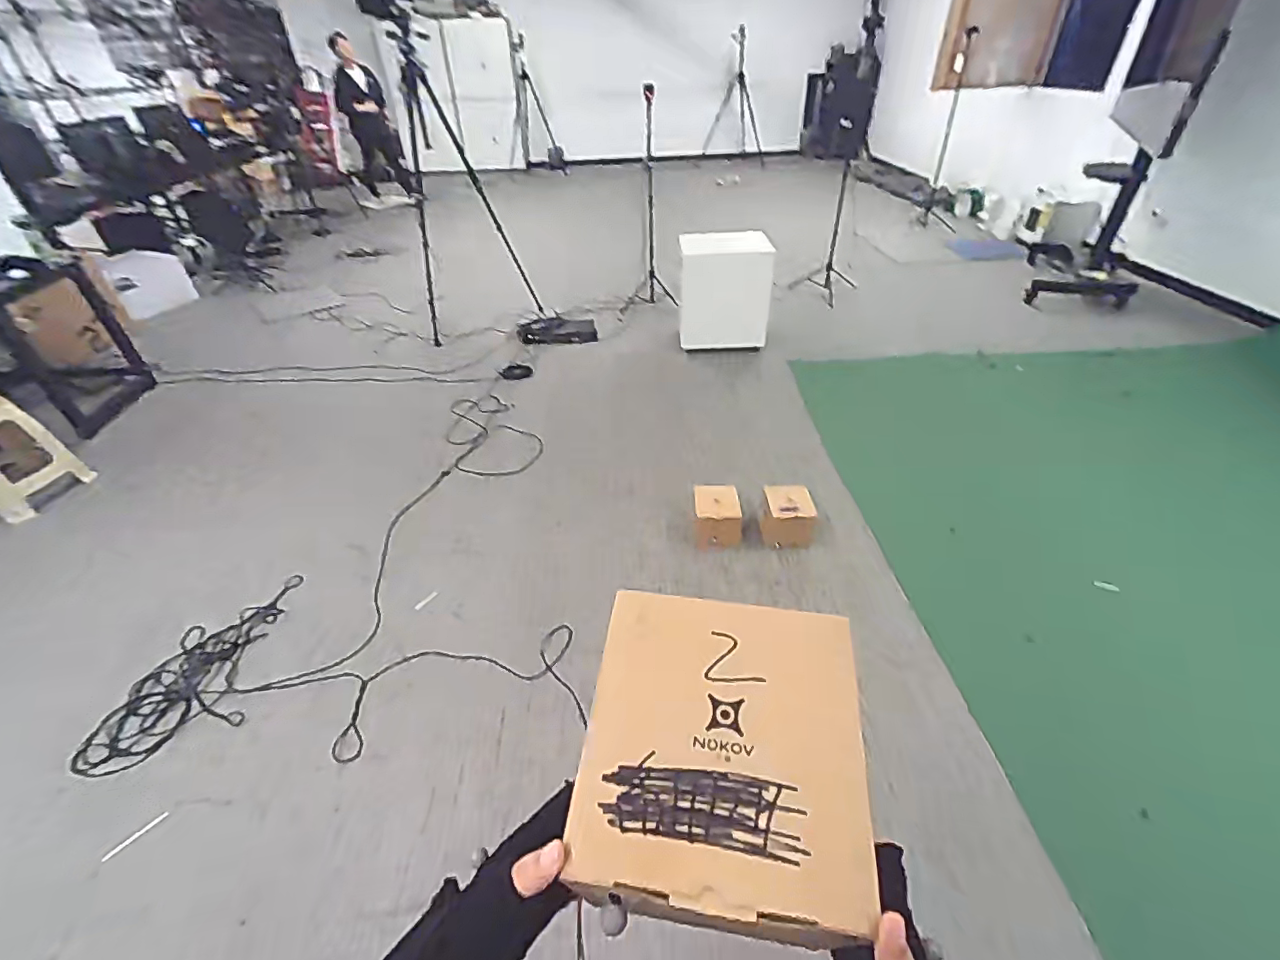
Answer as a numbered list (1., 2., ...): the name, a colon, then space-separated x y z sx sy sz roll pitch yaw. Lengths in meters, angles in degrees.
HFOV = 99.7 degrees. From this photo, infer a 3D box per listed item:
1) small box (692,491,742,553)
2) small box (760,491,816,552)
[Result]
1. small box: 0.290 0.160 2.071 0.168 0.176 0.179 -1 39 1
2. small box: 0.559 0.161 2.060 0.168 0.176 0.179 -1 38 0
